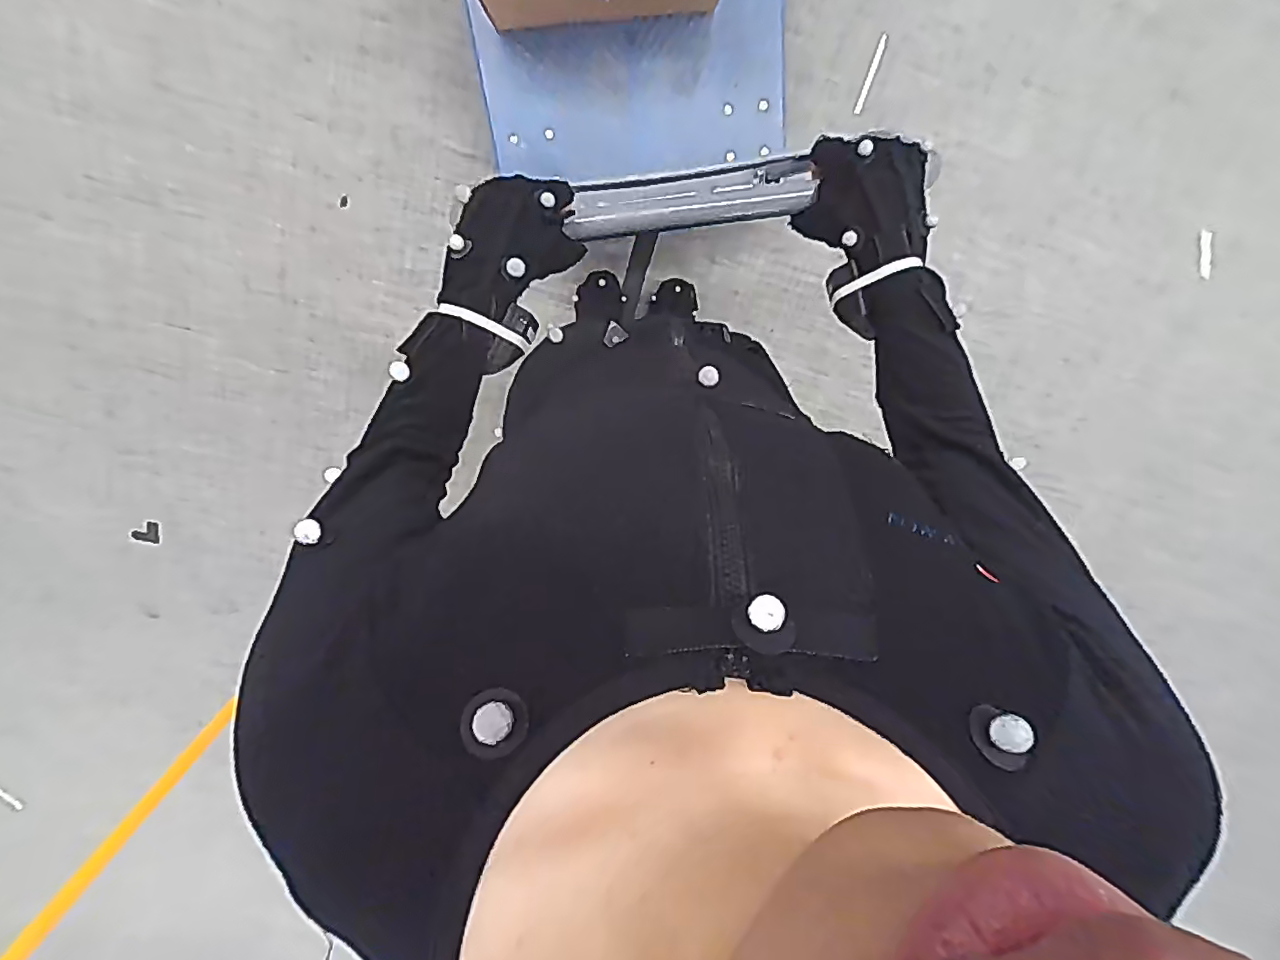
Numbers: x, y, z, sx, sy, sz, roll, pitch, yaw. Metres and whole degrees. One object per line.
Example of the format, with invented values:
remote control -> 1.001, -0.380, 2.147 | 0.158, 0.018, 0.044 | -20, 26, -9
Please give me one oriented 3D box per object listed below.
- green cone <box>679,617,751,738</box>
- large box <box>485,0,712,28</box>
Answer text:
green cone -> 0.259, 0.612, 1.618 | 0.202, 0.368, 0.200 | 17, 111, -12
large box -> -0.070, -0.925, 0.796 | 0.408, 0.320, 0.320 | -6, 113, 0
